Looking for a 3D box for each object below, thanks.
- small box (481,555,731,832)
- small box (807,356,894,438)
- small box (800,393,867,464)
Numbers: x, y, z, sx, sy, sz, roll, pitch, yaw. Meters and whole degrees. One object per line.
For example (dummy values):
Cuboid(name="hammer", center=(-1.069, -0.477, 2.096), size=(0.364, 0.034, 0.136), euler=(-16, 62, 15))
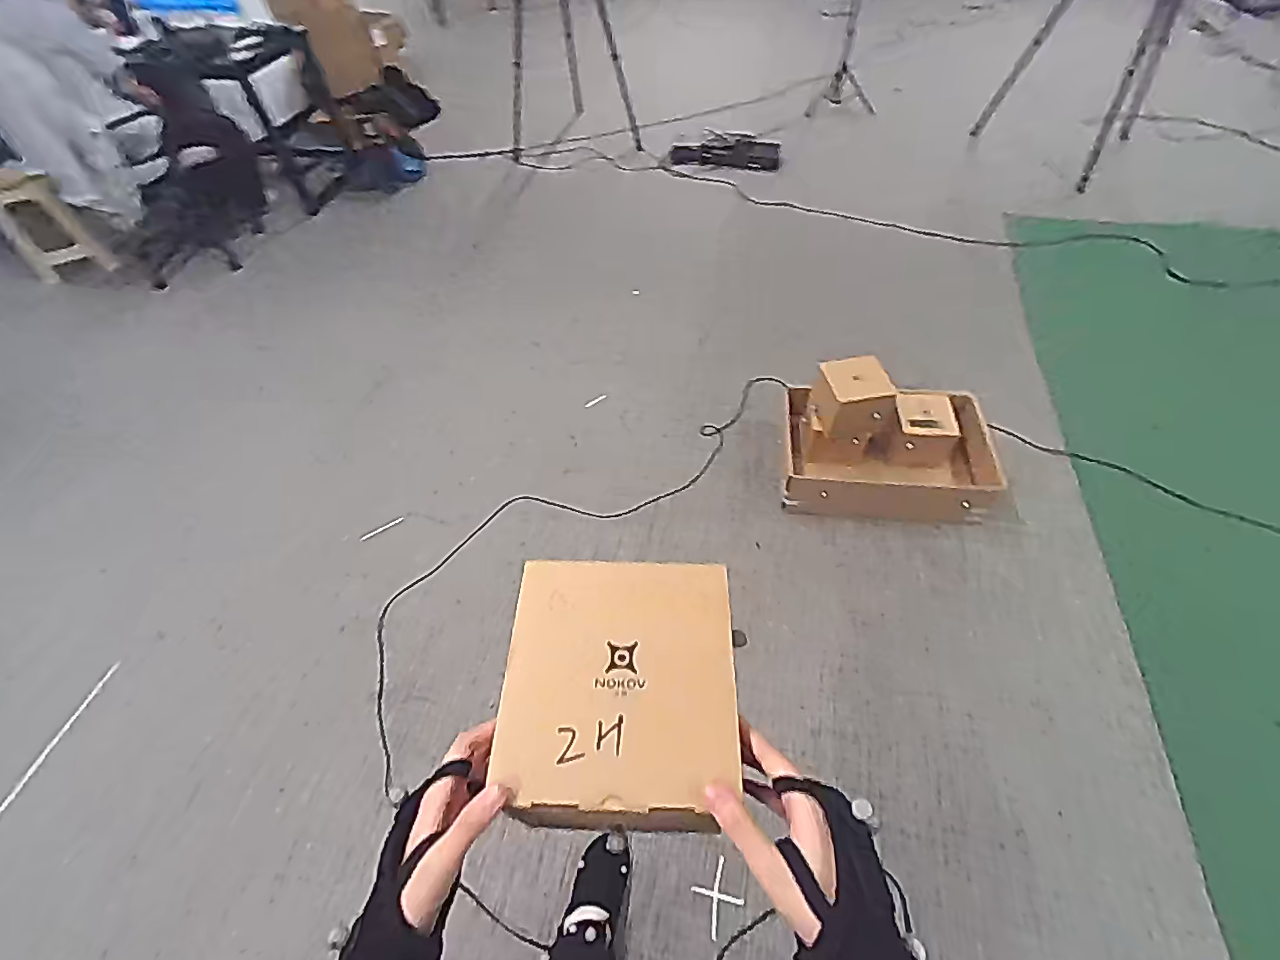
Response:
Cuboid(name="small box", center=(-0.017, 0.183, 0.459), size=(0.168, 0.176, 0.179), euler=(2, 54, 3))
Cuboid(name="small box", center=(0.626, -0.248, 1.632), size=(0.179, 0.176, 0.168), euler=(-9, 55, -3))
Cuboid(name="small box", center=(0.628, -0.167, 1.774), size=(0.179, 0.176, 0.168), euler=(5, 55, 6))
